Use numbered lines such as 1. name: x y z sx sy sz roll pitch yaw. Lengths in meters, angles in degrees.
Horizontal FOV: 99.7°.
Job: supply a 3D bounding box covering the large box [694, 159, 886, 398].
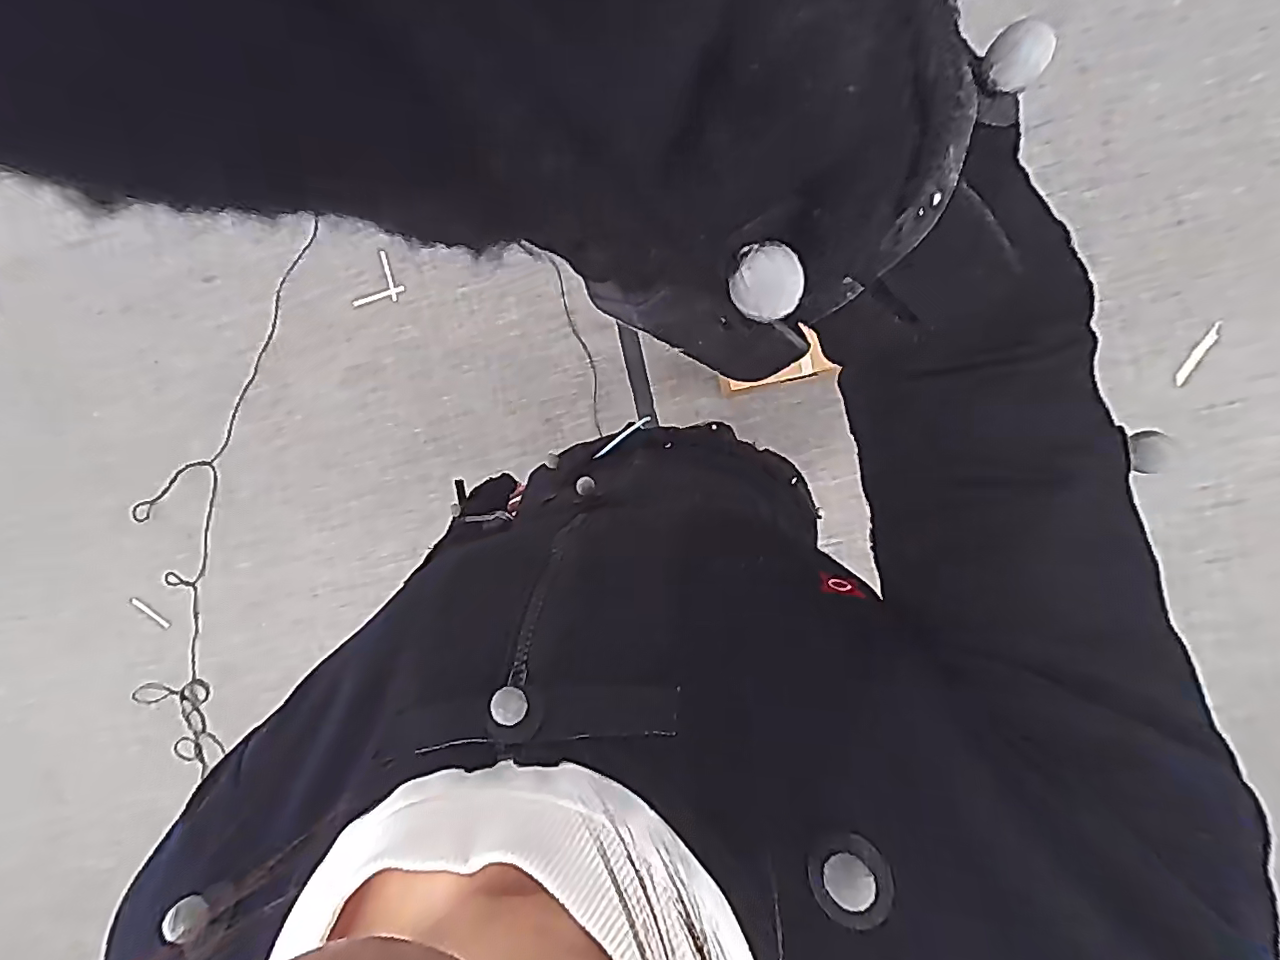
1. large box: 0.316 -0.423 1.238 0.320 0.320 0.408 -12 95 8
